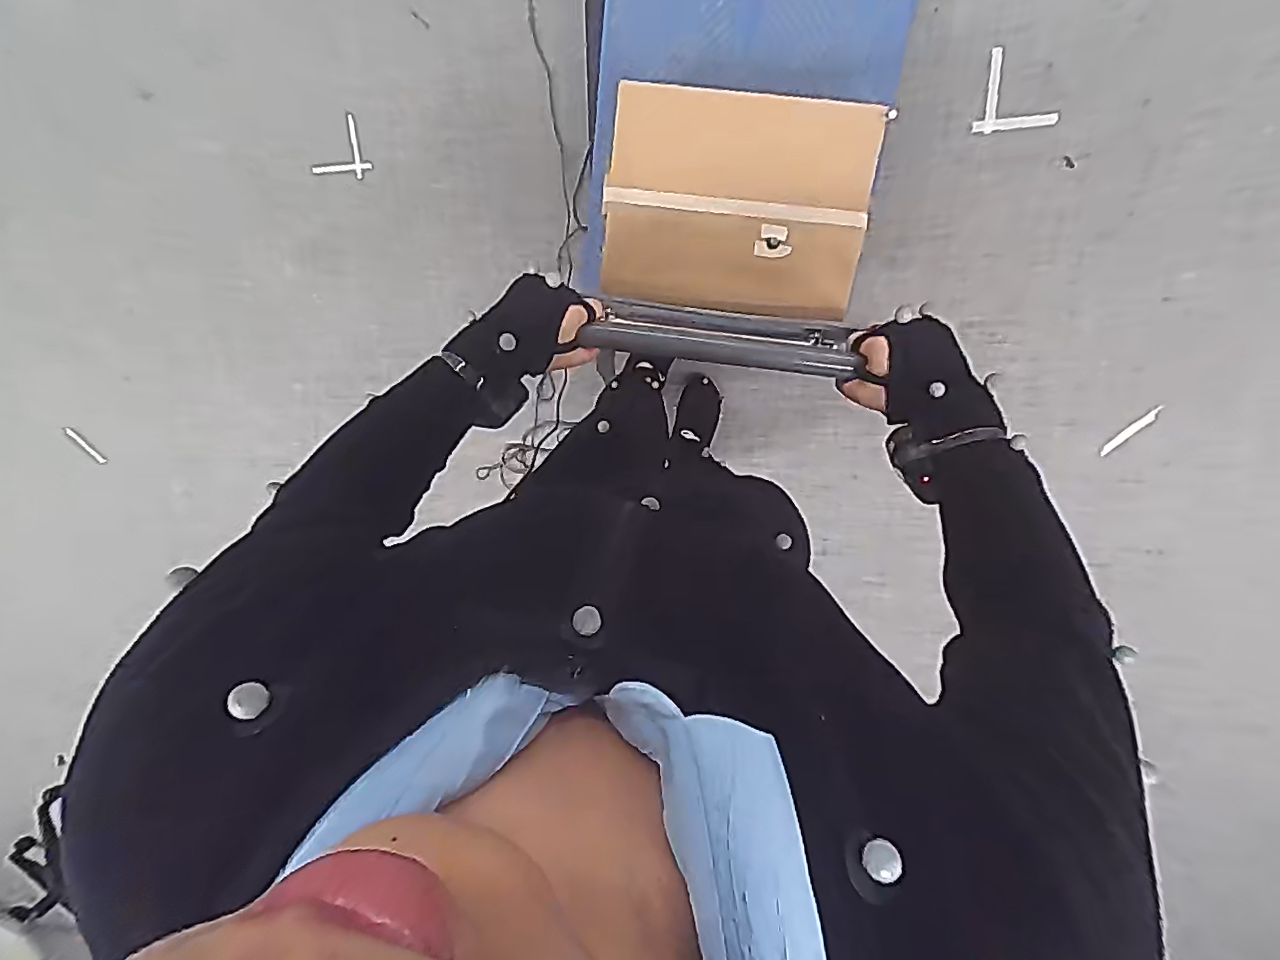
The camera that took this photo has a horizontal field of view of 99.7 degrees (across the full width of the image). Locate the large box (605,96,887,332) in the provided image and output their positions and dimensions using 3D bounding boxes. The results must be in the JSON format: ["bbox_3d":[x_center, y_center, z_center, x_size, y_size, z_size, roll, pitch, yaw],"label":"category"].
[{"bbox_3d":[0.160,-0.446,0.983,0.408,0.320,0.320,7,107,2],"label":"large box"}]
